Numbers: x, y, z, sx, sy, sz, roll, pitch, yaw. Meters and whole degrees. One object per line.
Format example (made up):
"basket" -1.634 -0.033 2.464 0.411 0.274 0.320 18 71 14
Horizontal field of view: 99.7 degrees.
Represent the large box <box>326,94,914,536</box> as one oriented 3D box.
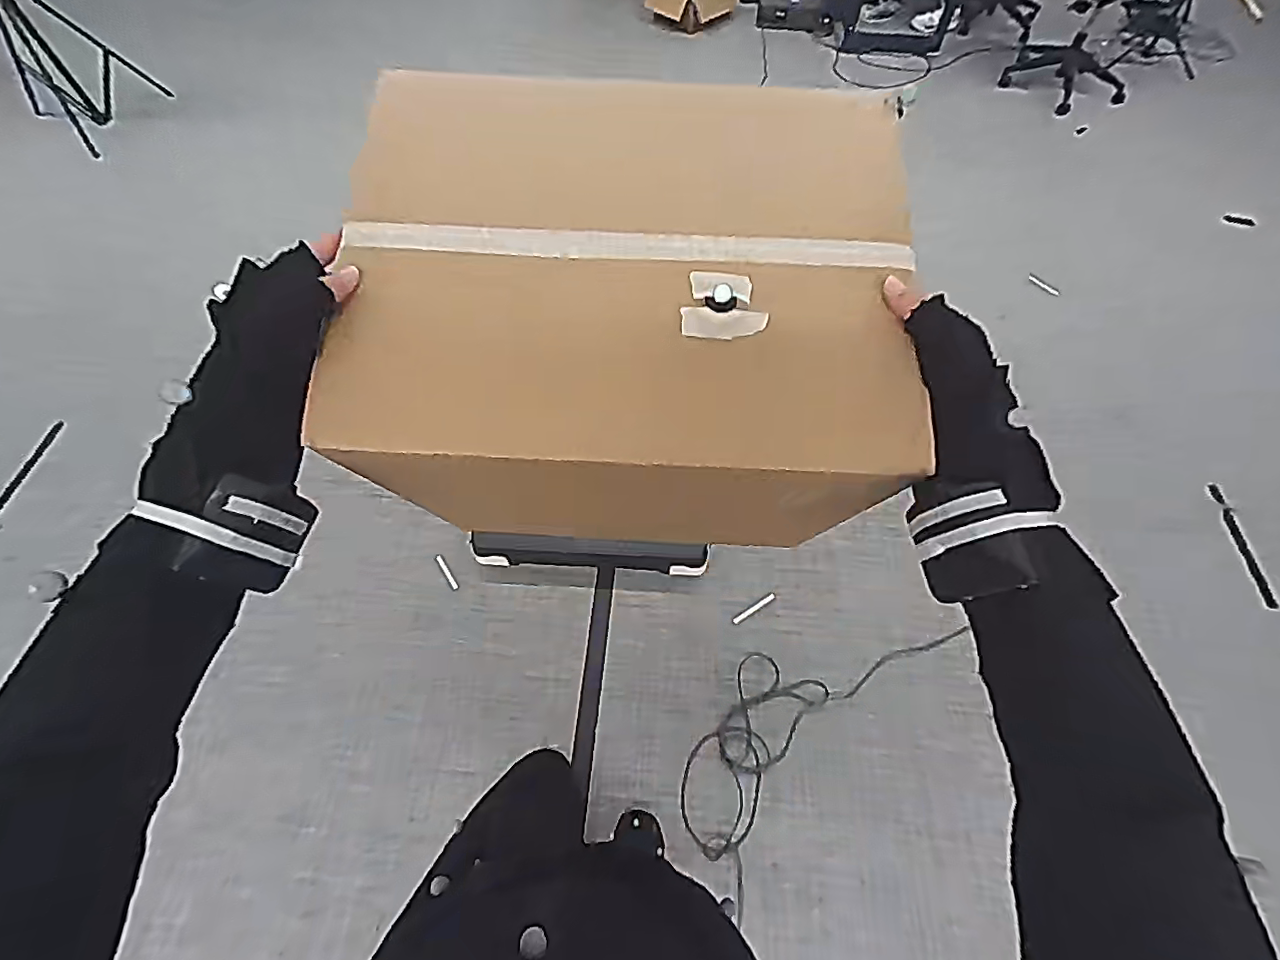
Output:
"large box" -0.012 -0.123 0.543 0.408 0.320 0.320 3 75 0
